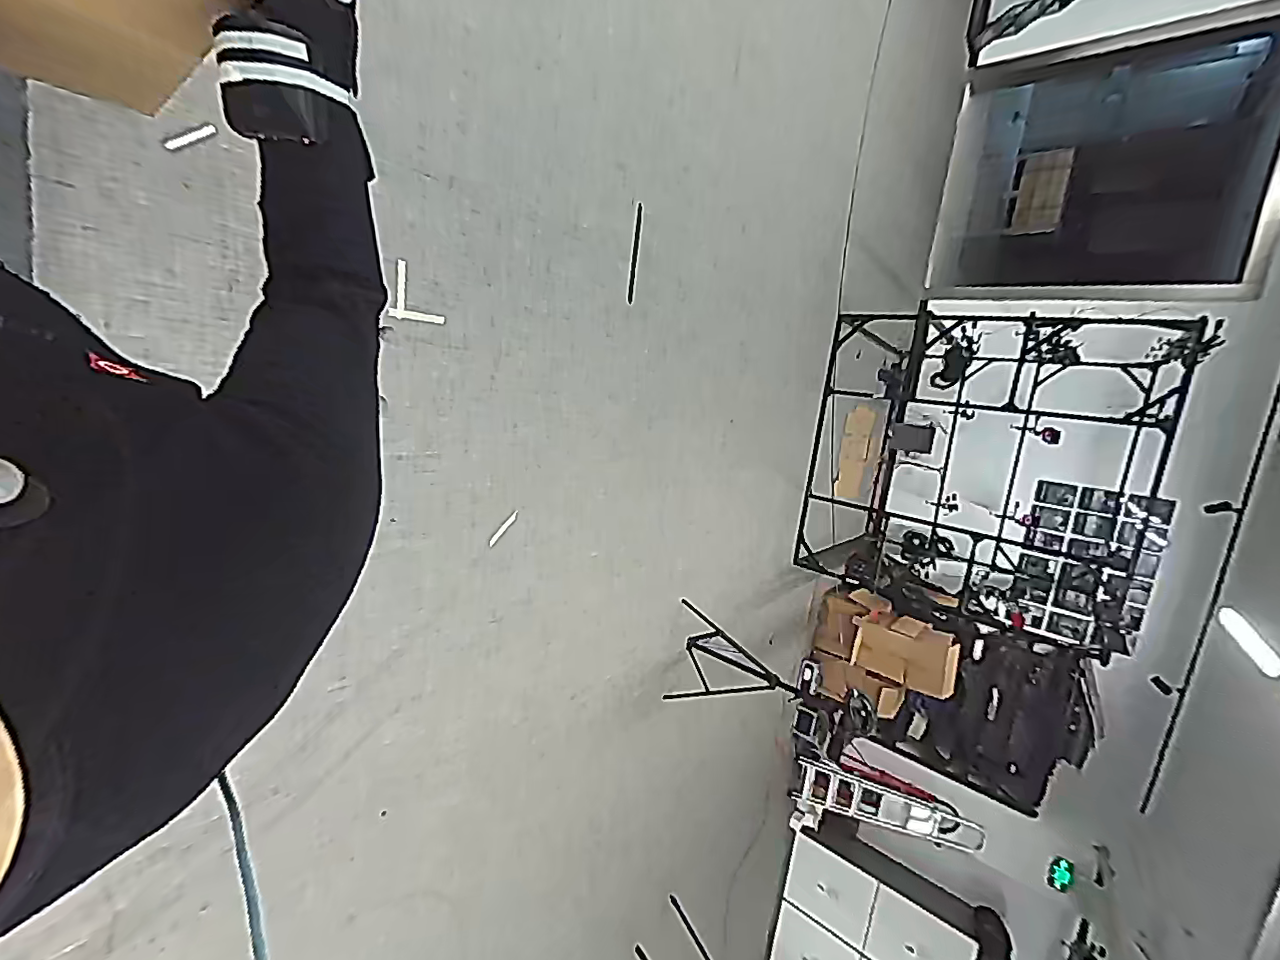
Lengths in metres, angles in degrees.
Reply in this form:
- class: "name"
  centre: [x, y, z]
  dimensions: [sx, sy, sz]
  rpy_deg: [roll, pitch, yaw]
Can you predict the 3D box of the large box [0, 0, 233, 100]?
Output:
- class: "large box"
  centre: [-0.469, -0.465, 0.250]
  dimensions: [0.408, 0.320, 0.320]
  rpy_deg: [-9, 106, -51]
